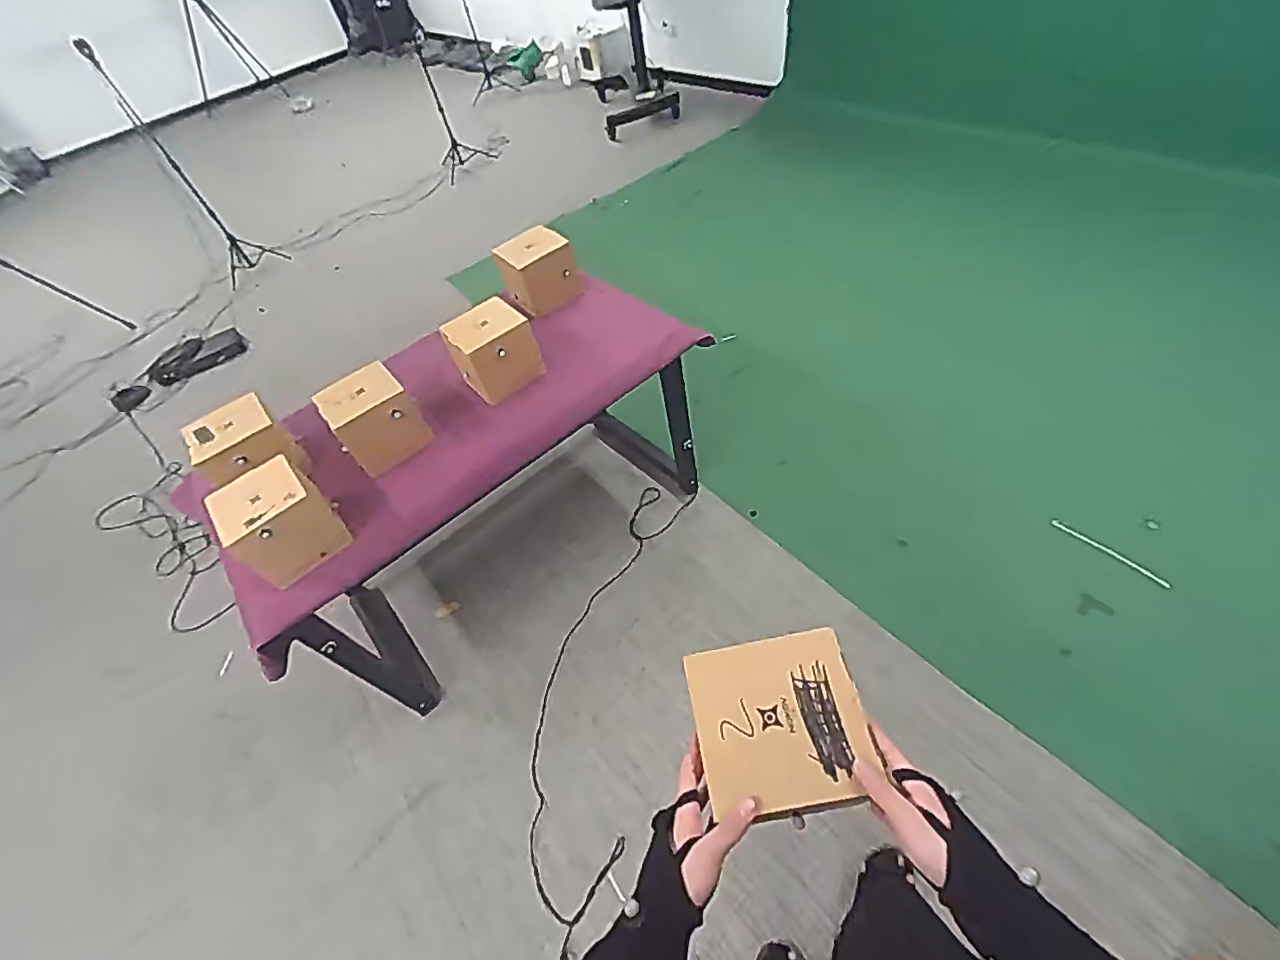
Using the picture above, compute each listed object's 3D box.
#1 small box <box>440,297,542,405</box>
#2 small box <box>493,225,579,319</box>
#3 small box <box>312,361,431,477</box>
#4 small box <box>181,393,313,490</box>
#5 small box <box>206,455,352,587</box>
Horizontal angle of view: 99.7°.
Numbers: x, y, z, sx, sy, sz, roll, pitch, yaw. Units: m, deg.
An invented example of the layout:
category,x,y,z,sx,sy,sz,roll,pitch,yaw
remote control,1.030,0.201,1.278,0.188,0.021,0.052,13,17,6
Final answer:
category,x,y,z,sx,sy,sz,roll,pitch,yaw
small box,-0.369,-0.327,1.378,0.179,0.176,0.168,-37,54,-17
small box,-0.294,-0.608,1.583,0.179,0.176,0.168,-37,55,-16
small box,-0.623,-0.142,1.279,0.179,0.176,0.168,-38,54,-17
small box,-0.924,-0.067,1.280,0.179,0.176,0.168,-37,54,-19
small box,-0.739,0.087,1.116,0.168,0.176,0.179,-39,53,-19
